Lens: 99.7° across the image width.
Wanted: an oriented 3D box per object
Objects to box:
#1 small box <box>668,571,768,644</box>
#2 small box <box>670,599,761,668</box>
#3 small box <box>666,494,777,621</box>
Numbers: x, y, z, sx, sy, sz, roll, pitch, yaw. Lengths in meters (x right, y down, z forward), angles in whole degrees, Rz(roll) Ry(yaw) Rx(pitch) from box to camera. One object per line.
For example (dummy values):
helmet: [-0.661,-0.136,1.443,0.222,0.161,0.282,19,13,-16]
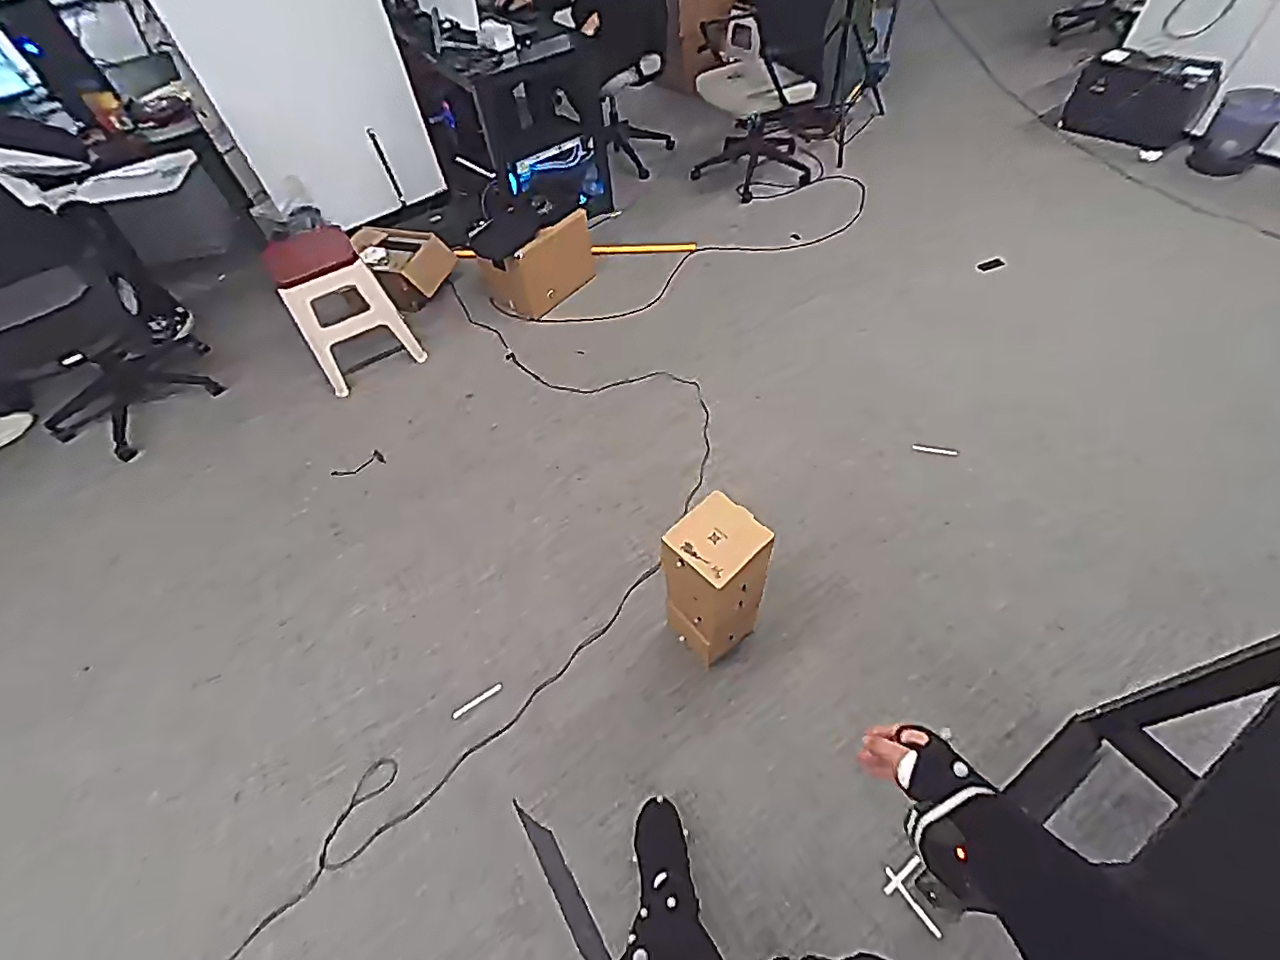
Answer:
small box: [0.186,0.266,1.312,0.179,0.176,0.168,-36,59,-21]
small box: [0.195,0.366,1.440,0.179,0.176,0.168,-34,58,-18]
small box: [0.171,0.171,1.179,0.179,0.176,0.168,-38,59,-22]
